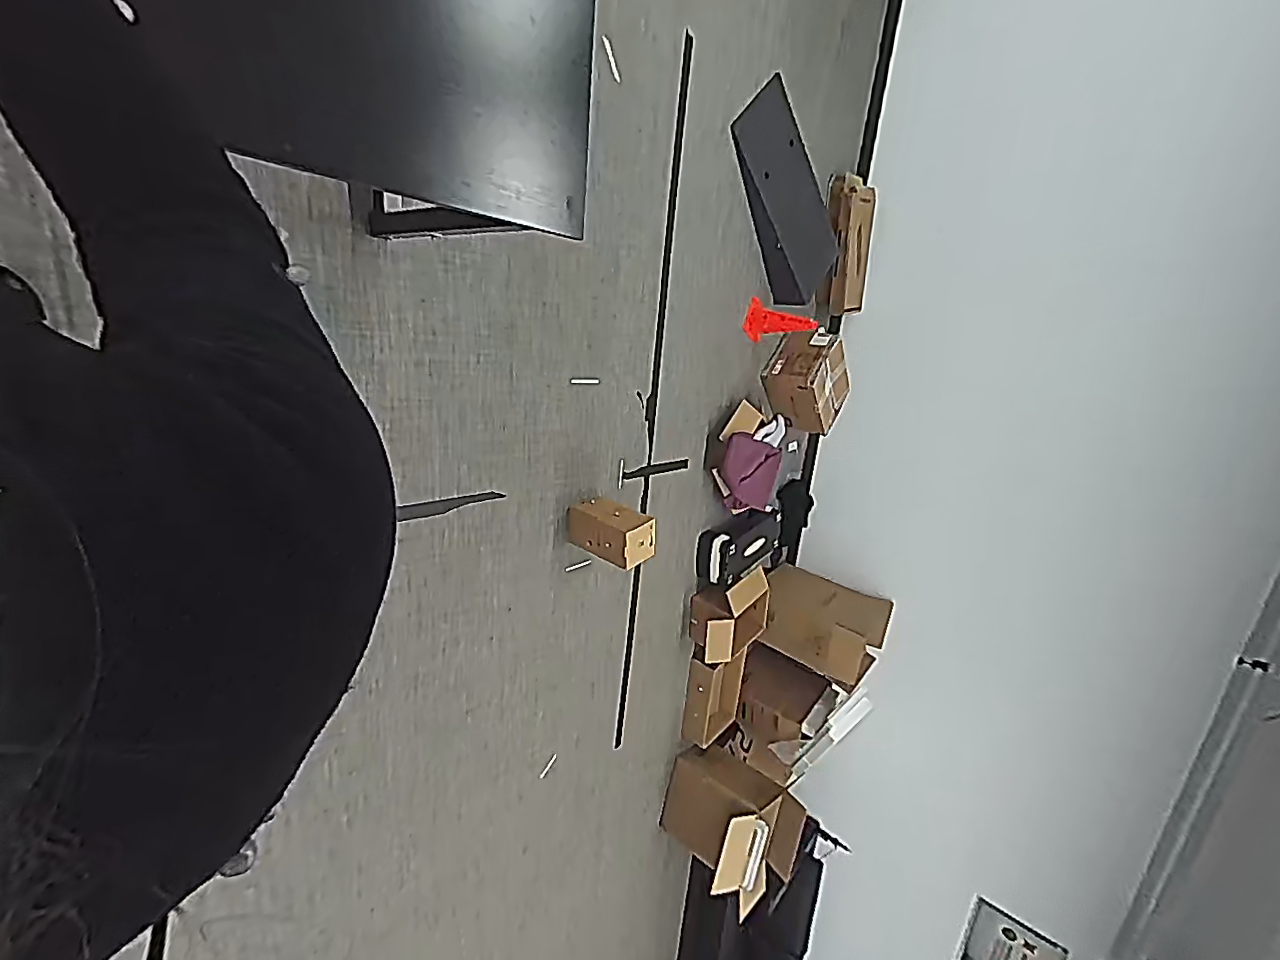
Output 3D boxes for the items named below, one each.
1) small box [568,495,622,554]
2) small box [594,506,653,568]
[{"bbox_3d":[-0.189,0.181,2.251,0.168,0.176,0.179,-21,120,-47],"label":"small box"},{"bbox_3d":[-0.069,0.221,2.146,0.179,0.176,0.168,-22,121,-45],"label":"small box"}]
